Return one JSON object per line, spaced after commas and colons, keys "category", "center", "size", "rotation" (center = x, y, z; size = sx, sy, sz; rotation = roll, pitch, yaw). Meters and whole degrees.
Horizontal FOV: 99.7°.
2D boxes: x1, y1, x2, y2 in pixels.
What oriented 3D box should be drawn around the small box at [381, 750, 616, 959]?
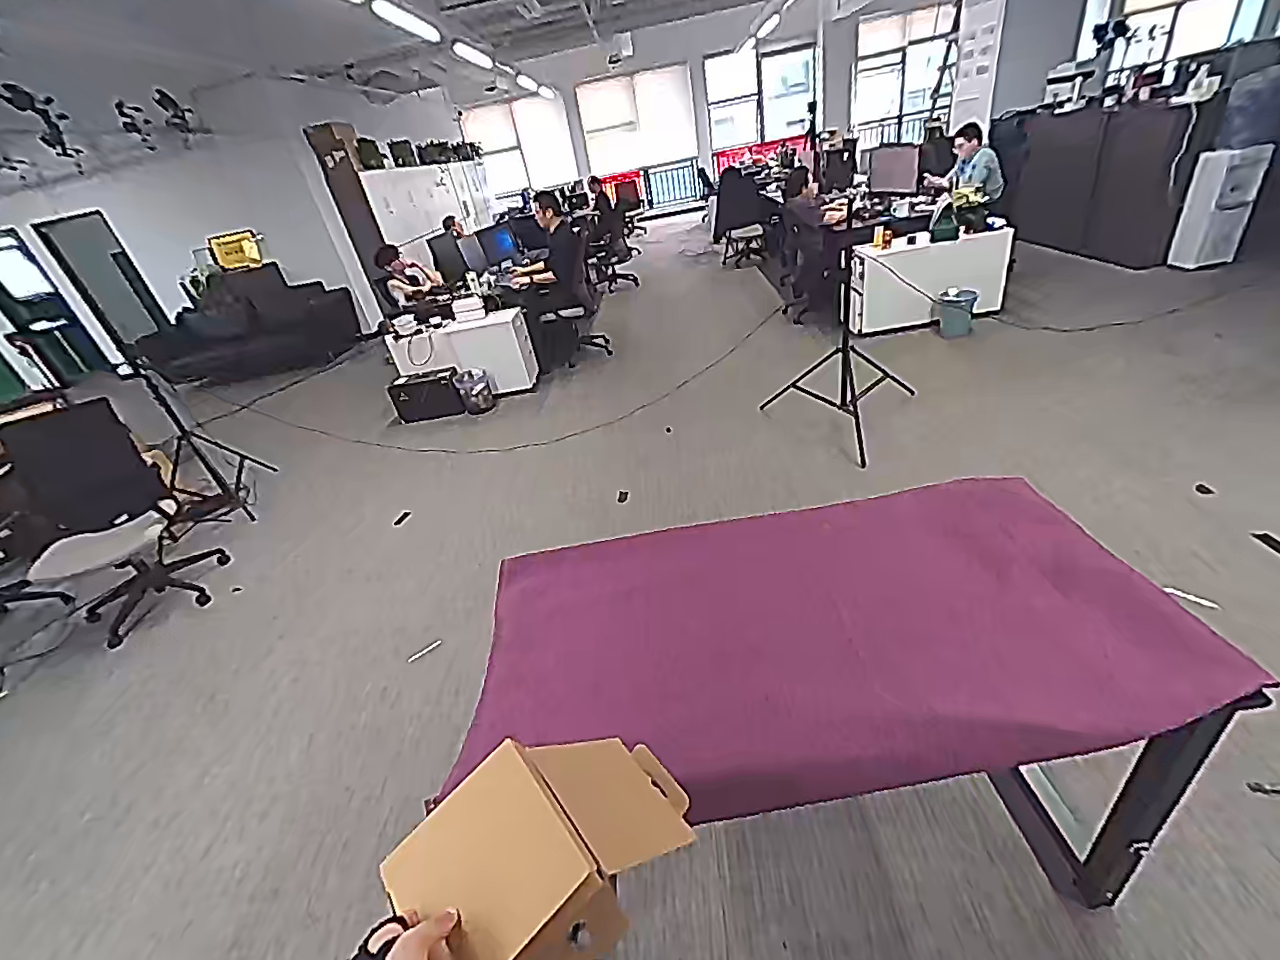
{"category": "small box", "center": [-0.140, 0.445, 0.584], "size": [0.179, 0.176, 0.168], "rotation": [-31, 43, -25]}
